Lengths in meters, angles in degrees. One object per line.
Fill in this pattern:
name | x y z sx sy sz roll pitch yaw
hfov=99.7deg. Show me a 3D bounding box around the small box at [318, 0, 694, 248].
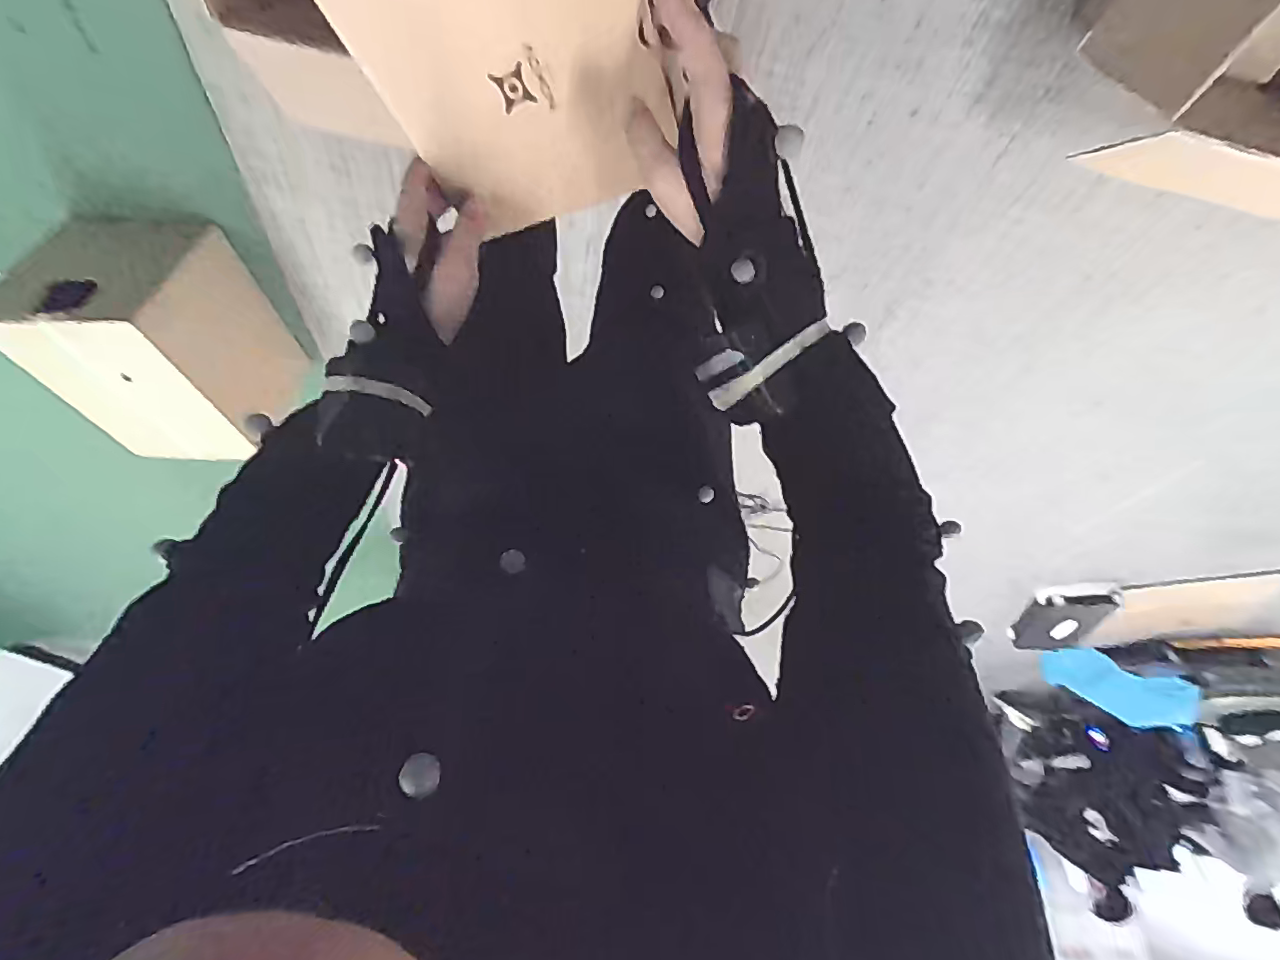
small box | -0.064 -0.296 0.366 0.179 0.176 0.168 -9 145 17
